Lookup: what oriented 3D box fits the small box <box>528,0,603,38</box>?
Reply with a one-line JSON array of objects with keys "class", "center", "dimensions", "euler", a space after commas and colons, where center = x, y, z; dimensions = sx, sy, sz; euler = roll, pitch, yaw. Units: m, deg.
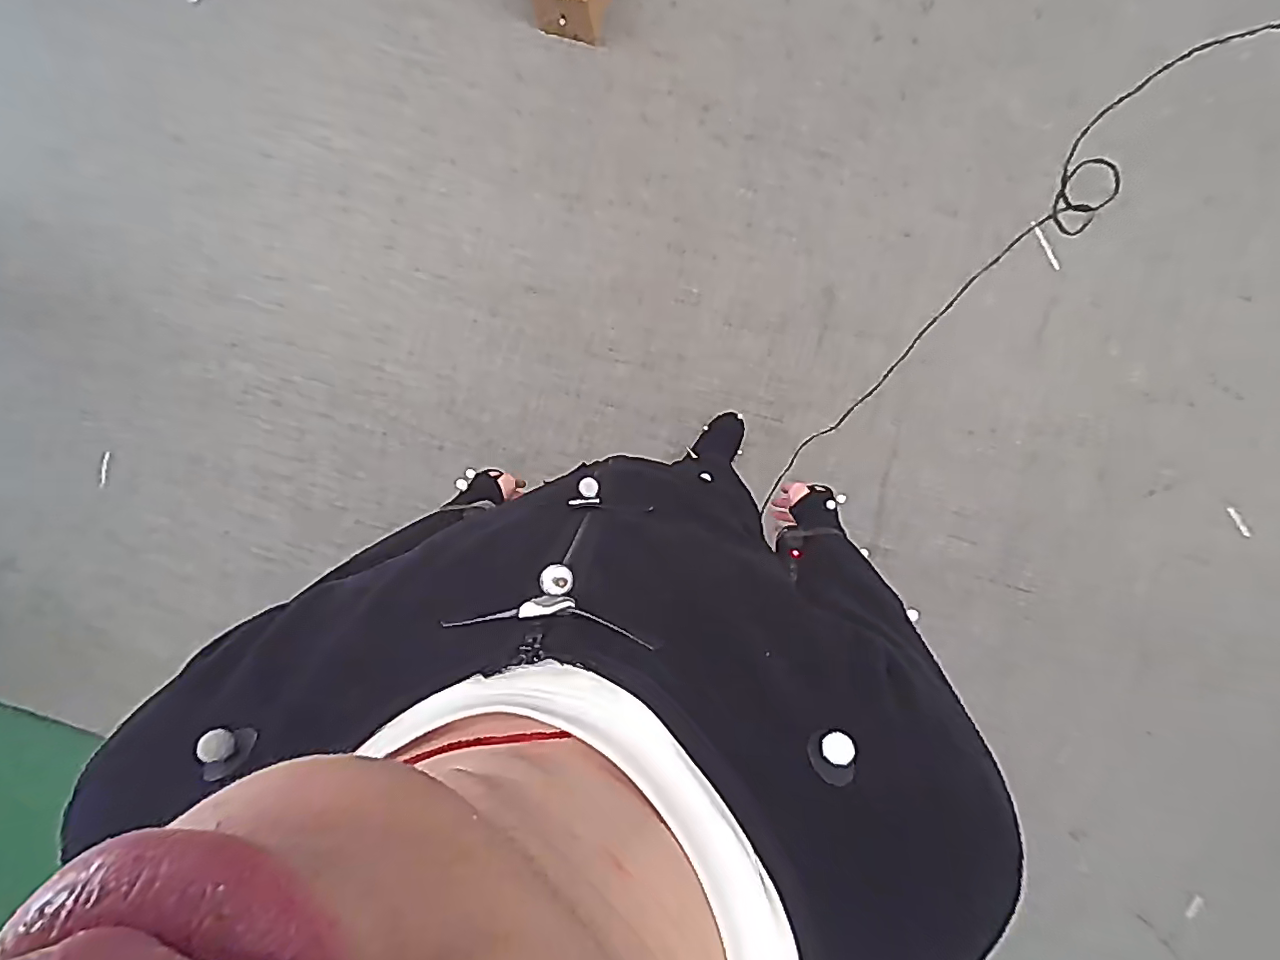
[{"class": "small box", "center": [-0.186, -1.274, 1.364], "dimensions": [0.168, 0.176, 0.179], "euler": [16, 96, 3]}]
